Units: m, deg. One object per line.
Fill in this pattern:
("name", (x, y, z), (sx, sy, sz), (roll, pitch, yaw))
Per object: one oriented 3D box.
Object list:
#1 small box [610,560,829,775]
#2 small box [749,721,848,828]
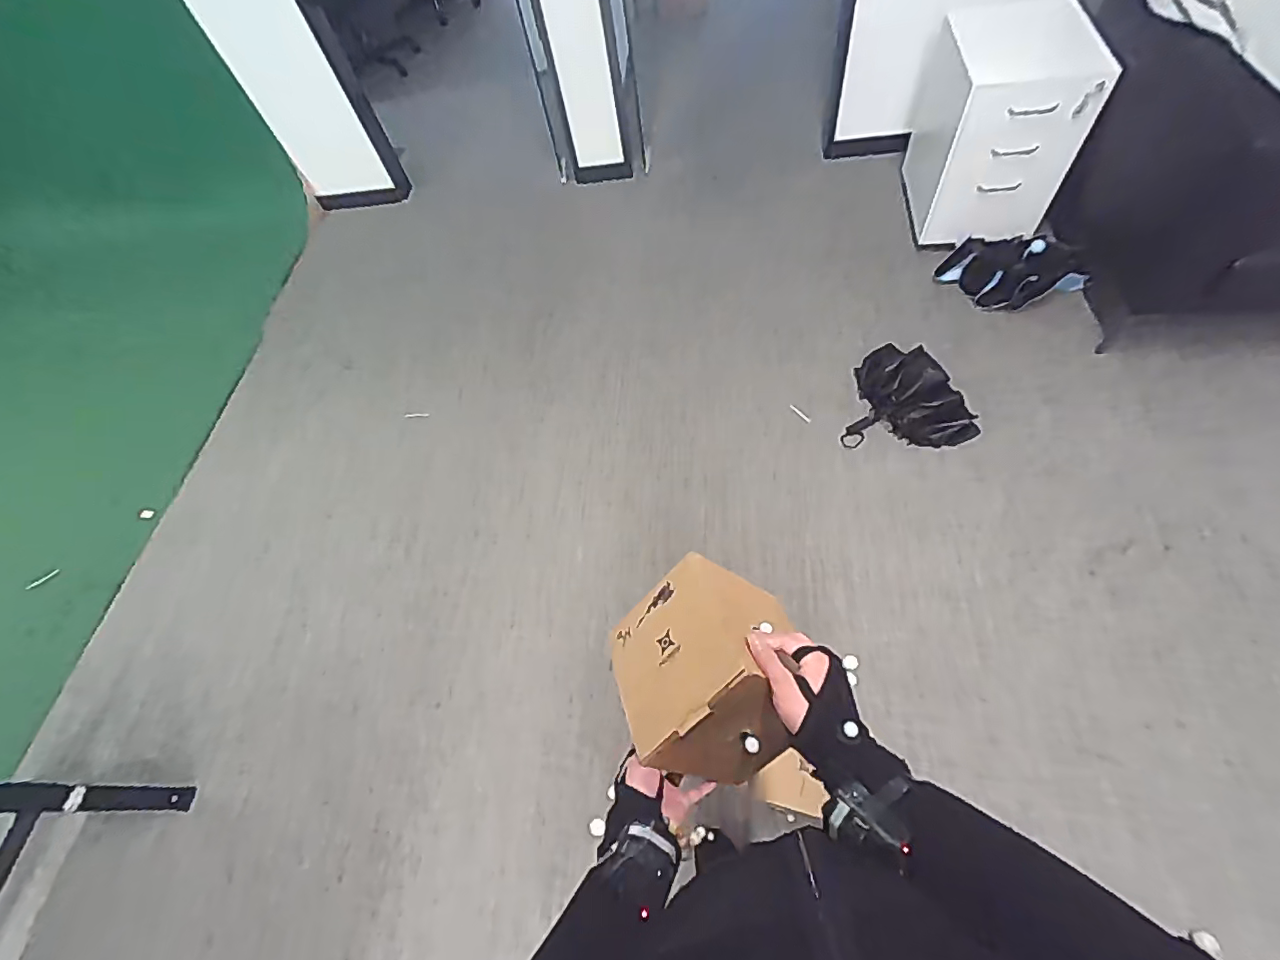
("small box", (0.093, 0.233, 0.656), (0.168, 0.176, 0.179), (-46, 35, 17))
("small box", (0.322, 0.593, 1.118), (0.168, 0.176, 0.179), (10, 62, 15))
